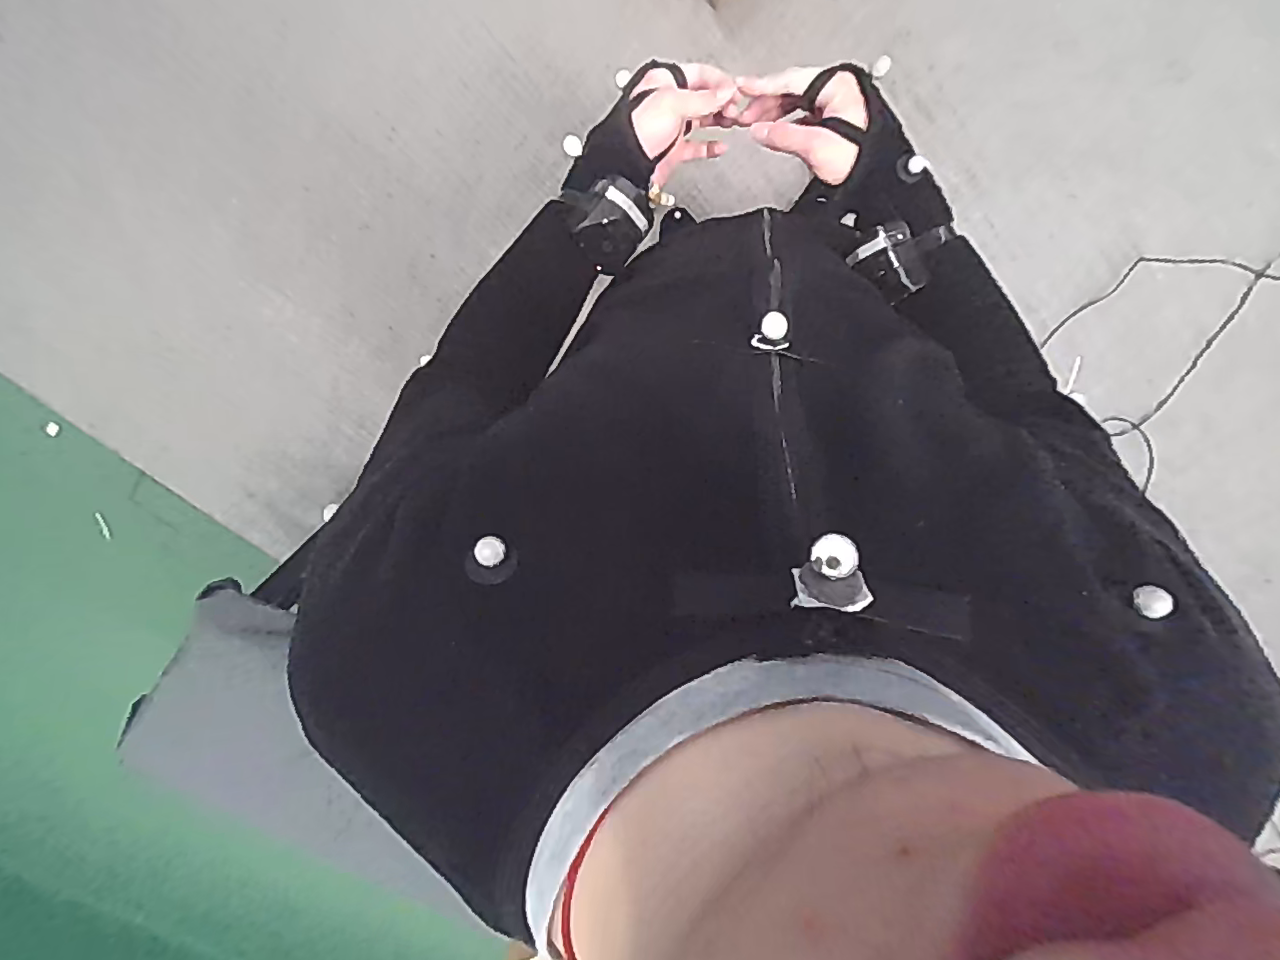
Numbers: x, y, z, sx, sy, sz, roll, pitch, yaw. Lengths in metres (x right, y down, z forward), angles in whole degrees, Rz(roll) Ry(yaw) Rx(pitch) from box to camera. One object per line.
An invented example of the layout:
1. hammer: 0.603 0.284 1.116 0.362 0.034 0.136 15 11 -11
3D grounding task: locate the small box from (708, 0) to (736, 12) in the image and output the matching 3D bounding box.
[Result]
1. small box: 0.176 -1.060 1.036 0.168 0.176 0.179 -29 114 19

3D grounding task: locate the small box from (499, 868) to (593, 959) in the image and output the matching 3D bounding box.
1. small box: -0.238 1.165 1.423 0.168 0.176 0.179 38 113 -15
